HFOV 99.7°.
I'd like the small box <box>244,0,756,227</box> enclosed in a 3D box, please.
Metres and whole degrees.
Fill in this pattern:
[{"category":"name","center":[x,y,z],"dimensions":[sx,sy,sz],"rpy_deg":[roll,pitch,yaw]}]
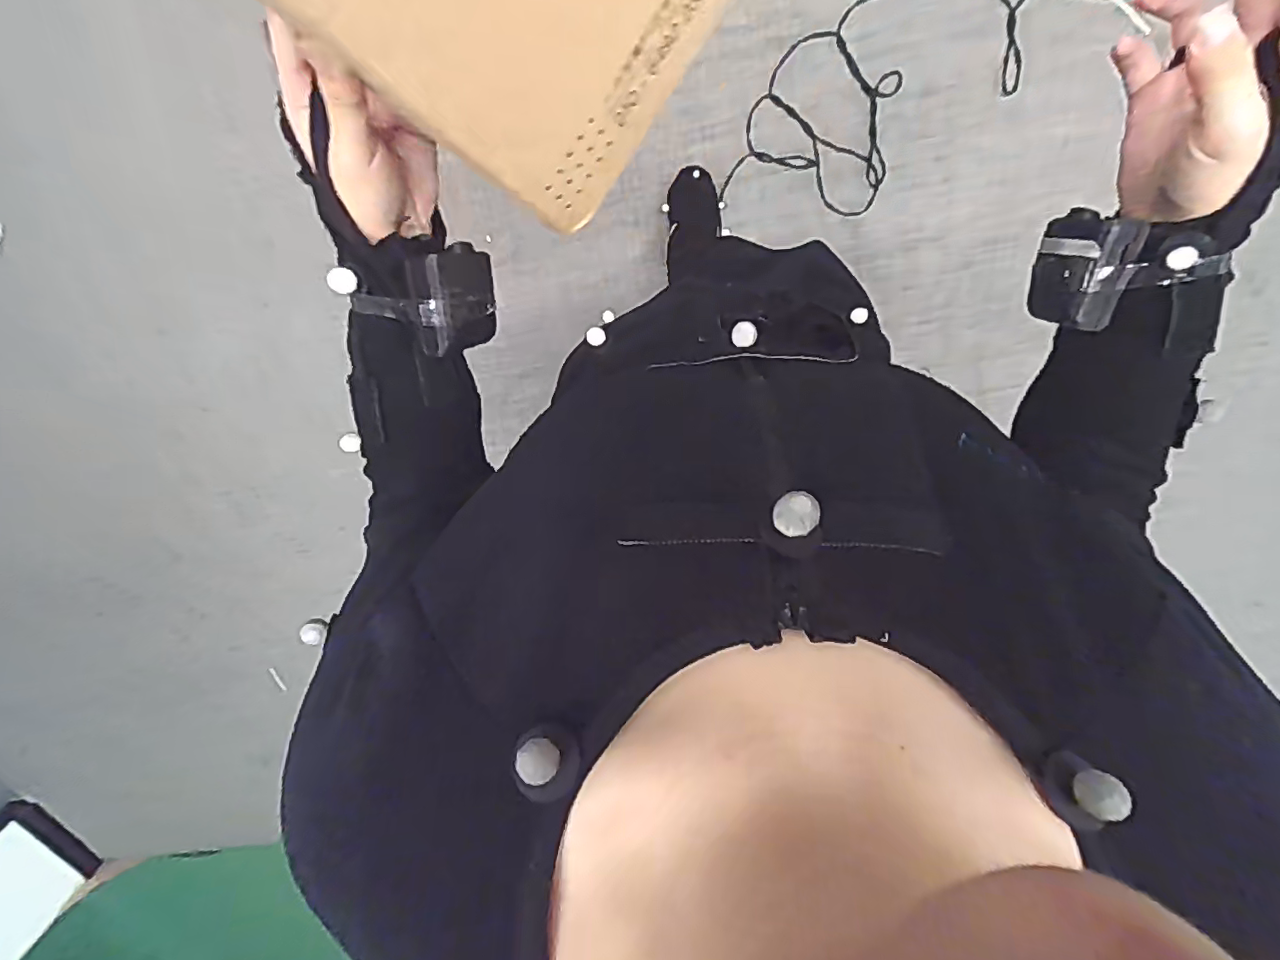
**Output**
[{"category":"small box","center":[-0.067,-0.212,0.161],"dimensions":[0.179,0.176,0.168],"rpy_deg":[42,105,21]}]
